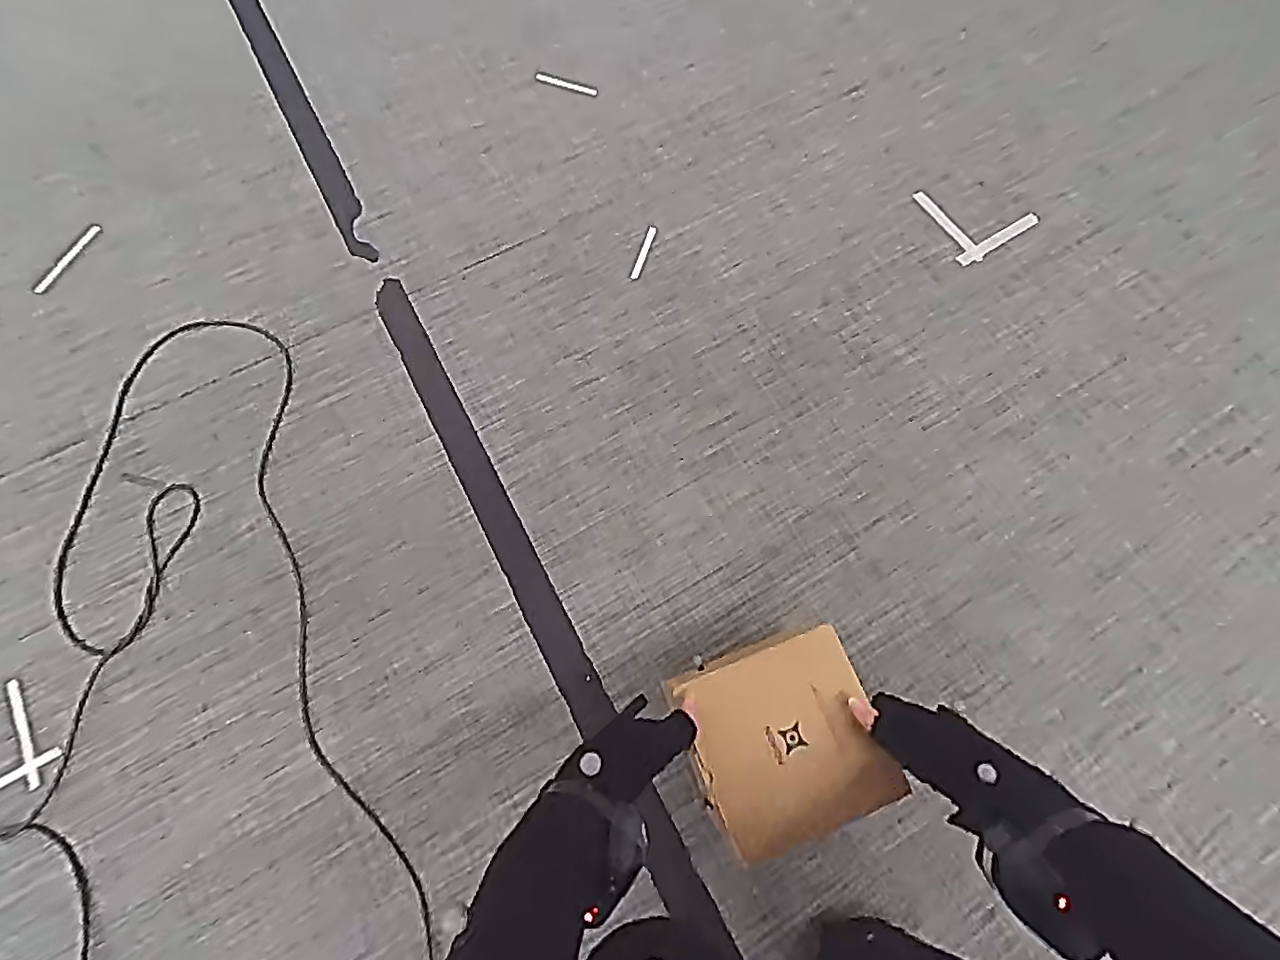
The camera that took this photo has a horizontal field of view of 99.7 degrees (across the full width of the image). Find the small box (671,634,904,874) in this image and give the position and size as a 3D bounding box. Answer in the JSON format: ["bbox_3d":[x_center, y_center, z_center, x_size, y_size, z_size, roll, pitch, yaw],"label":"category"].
[{"bbox_3d":[0.140,0.283,0.596,0.179,0.176,0.168,-20,73,-8],"label":"small box"}]
